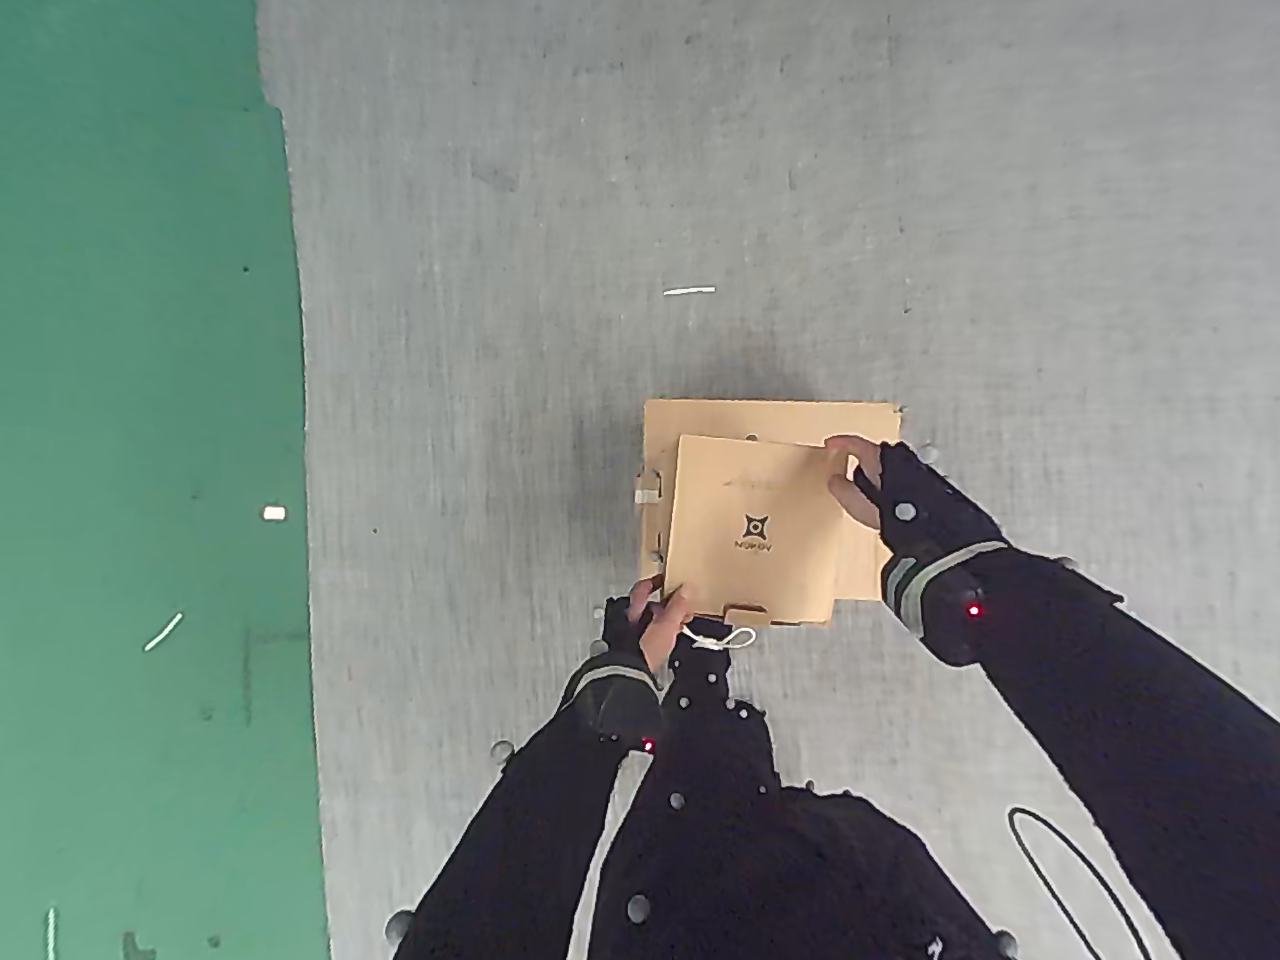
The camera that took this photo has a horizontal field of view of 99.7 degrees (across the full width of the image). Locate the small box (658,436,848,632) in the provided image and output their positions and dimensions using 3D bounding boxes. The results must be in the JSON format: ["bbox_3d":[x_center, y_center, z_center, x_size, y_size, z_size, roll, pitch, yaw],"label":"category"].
[{"bbox_3d":[0.110,0.052,0.596,0.168,0.176,0.179,5,89,0],"label":"small box"}]

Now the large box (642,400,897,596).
[{"bbox_3d":[0.208,0.031,1.004,0.408,0.320,0.320,1,90,2],"label":"large box"}]
